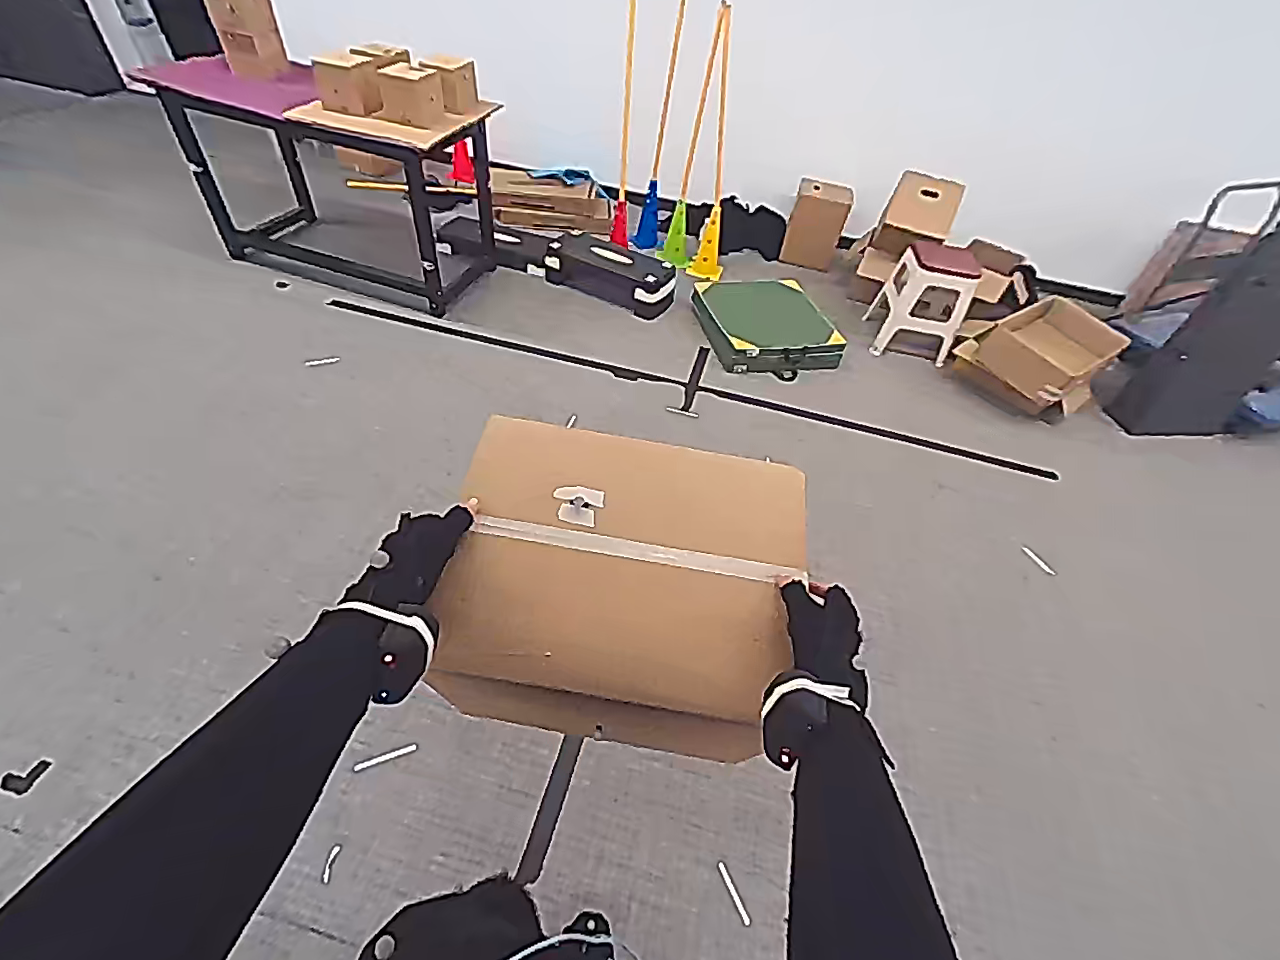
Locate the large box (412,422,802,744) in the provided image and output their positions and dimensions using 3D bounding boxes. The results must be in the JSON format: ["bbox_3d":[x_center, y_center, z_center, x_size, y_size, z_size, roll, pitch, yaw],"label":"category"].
[{"bbox_3d":[-0.023,0.158,0.744,0.408,0.320,0.320,9,57,1],"label":"large box"}]
